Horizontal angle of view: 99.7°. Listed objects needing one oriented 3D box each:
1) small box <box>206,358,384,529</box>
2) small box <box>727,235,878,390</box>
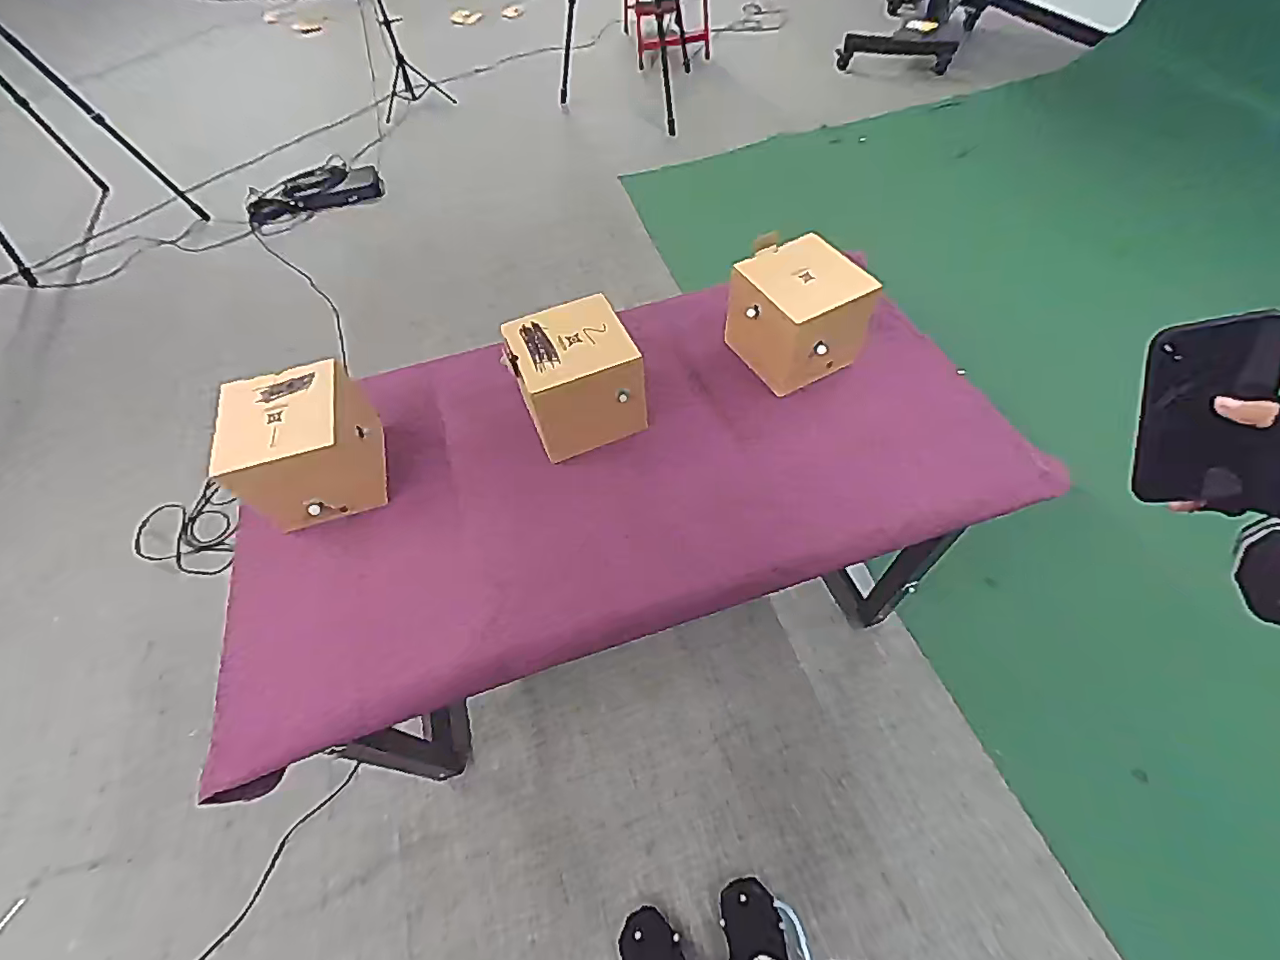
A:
[{"bbox_3d":[-0.510,-0.052,0.827,0.168,0.176,0.179,-16,59,-7],"label":"small box"},{"bbox_3d":[0.266,-0.277,0.928,0.168,0.176,0.179,-26,58,-12],"label":"small box"}]
